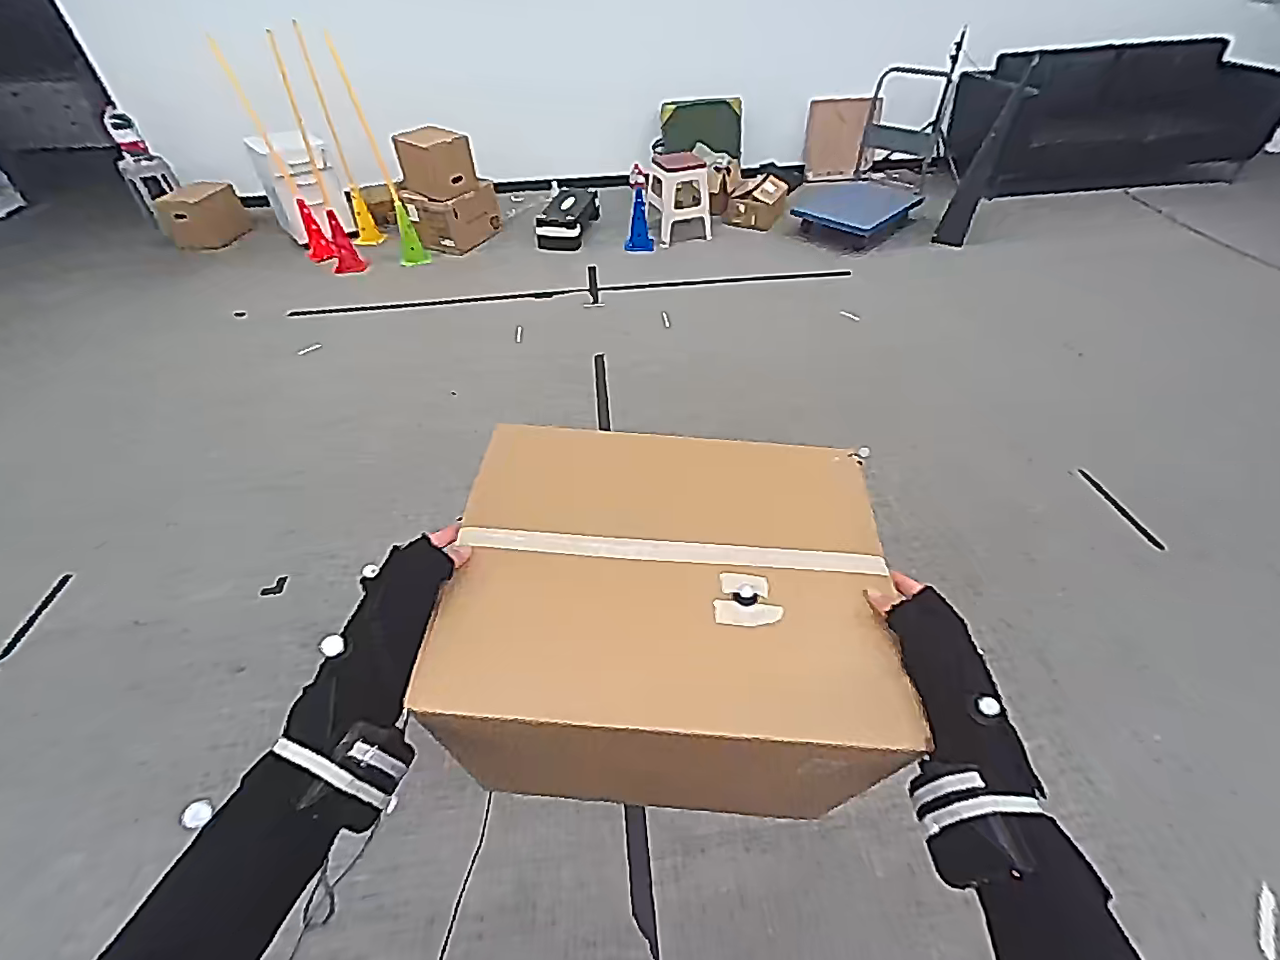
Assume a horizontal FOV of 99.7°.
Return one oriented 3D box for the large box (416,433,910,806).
[{"bbox_3d":[0.018,0.169,0.635,0.408,0.320,0.320,4,50,1],"label":"large box"}]
